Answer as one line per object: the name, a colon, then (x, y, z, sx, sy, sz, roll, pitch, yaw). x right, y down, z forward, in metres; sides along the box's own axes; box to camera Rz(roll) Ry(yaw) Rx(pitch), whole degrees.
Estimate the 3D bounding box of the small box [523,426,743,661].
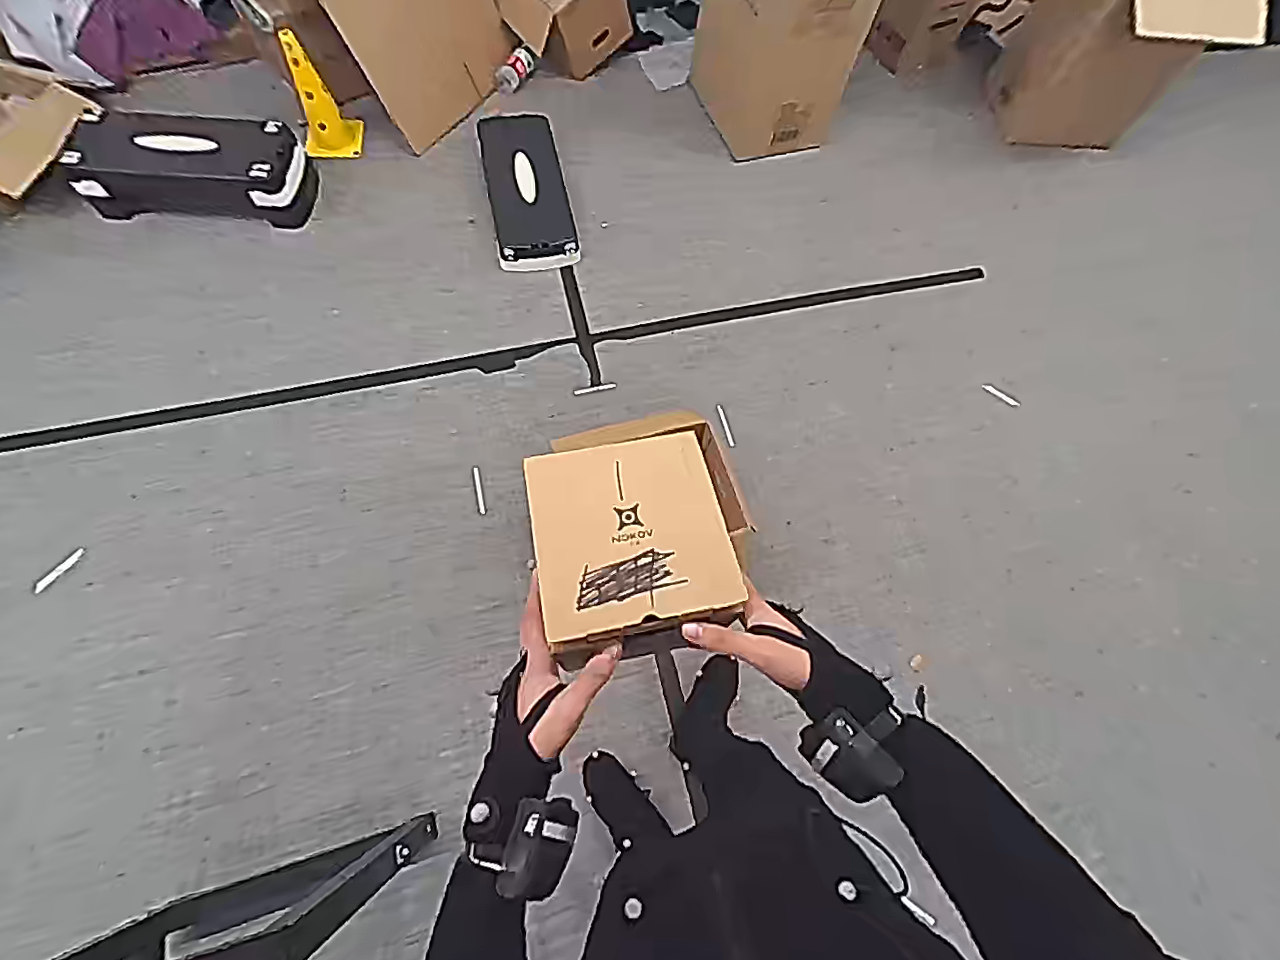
small box: (-0.013, 0.073, 0.535, 0.168, 0.176, 0.179, -10, 65, -7)
